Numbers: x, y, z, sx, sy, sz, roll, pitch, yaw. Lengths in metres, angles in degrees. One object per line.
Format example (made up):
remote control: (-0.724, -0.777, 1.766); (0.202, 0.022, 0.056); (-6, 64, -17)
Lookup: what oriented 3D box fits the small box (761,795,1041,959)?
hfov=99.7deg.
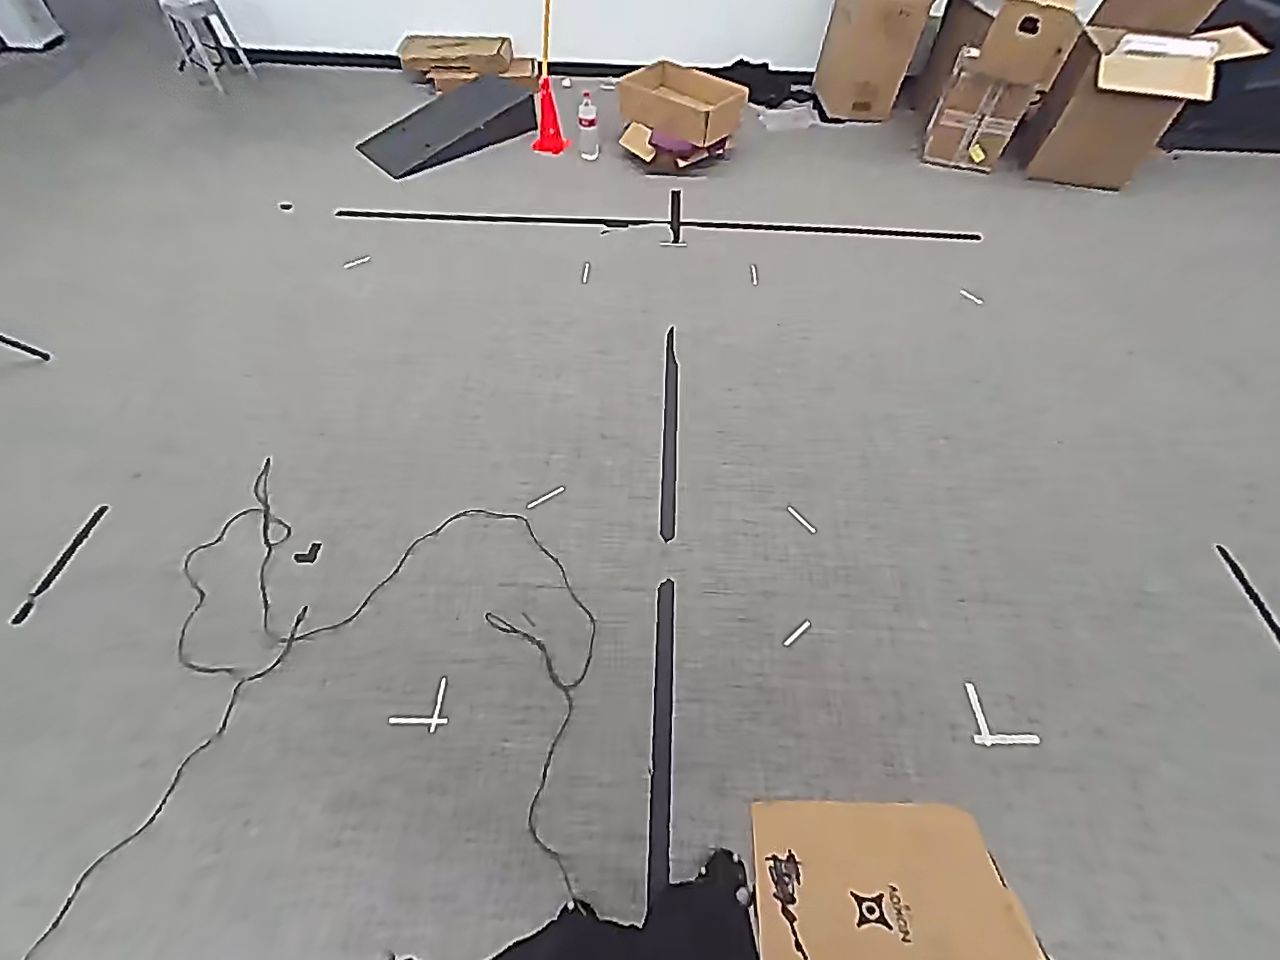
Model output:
small box: (0.187, 0.379, 0.414); (0.179, 0.176, 0.168); (-4, 20, 11)
